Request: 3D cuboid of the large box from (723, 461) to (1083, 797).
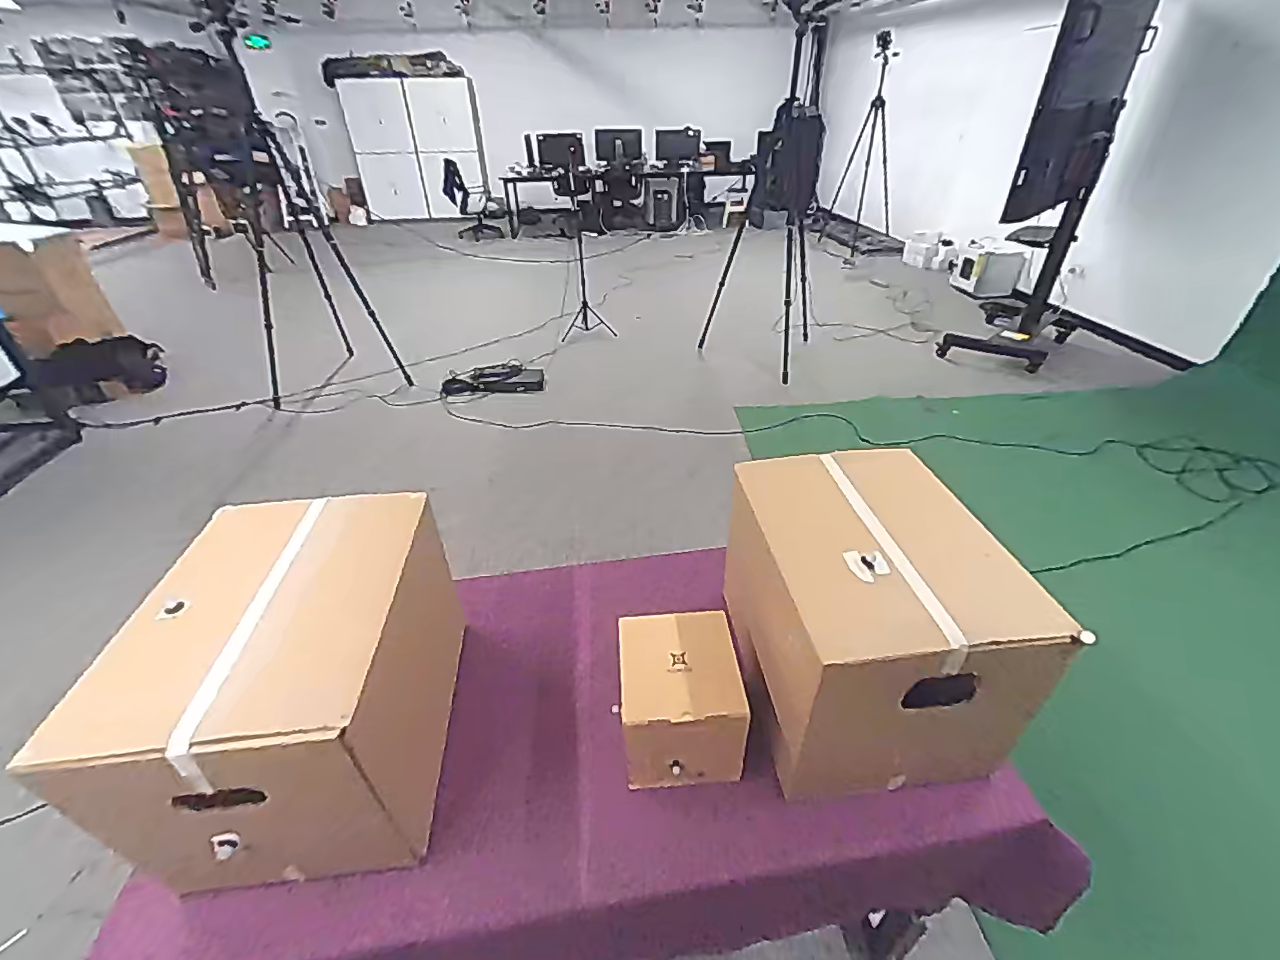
[{"bbox_3d":[0.337,0.209,0.852,0.320,0.320,0.408,-4,36,-4],"label":"large box"}]
